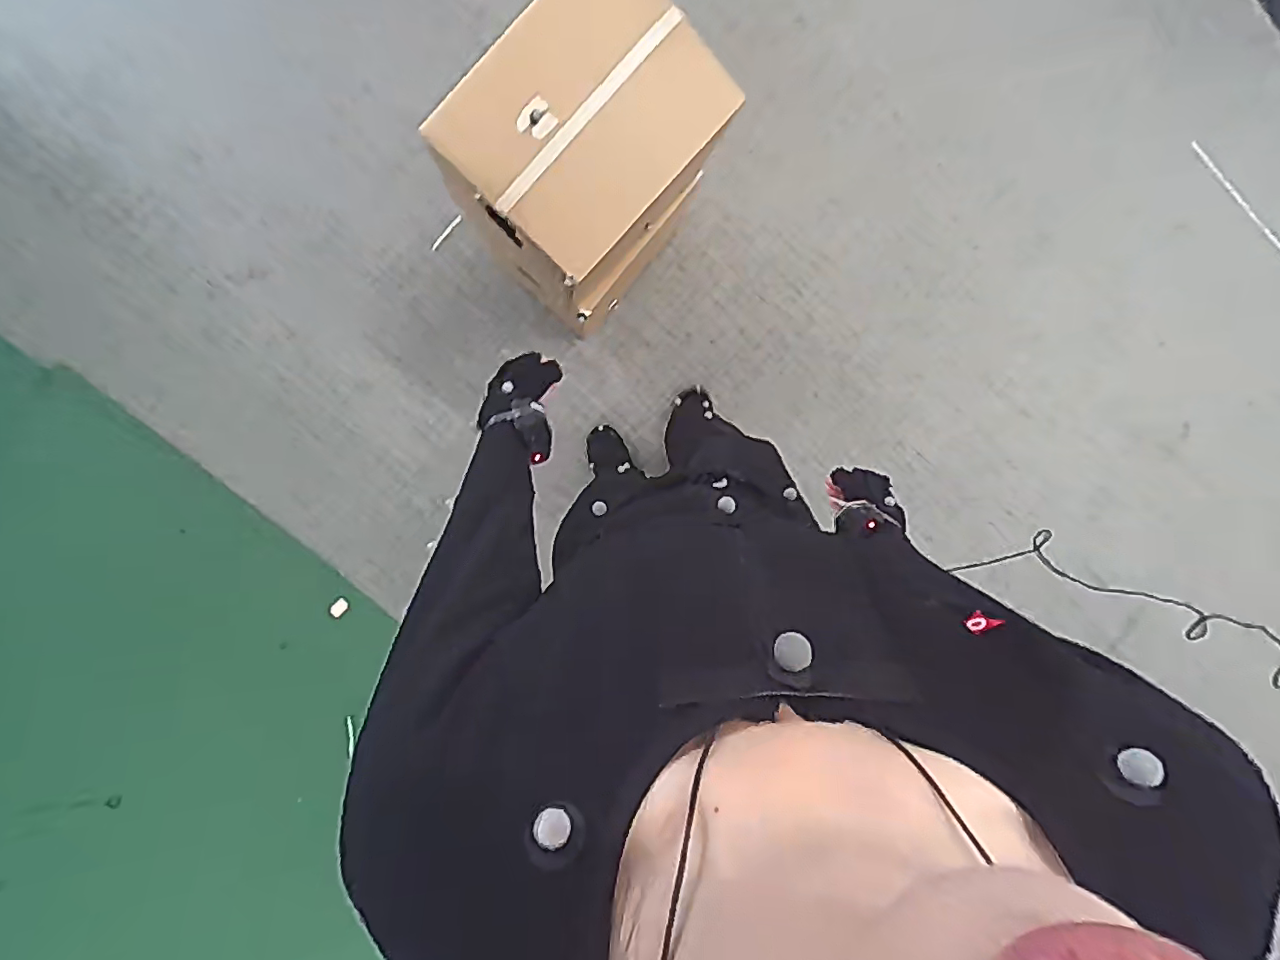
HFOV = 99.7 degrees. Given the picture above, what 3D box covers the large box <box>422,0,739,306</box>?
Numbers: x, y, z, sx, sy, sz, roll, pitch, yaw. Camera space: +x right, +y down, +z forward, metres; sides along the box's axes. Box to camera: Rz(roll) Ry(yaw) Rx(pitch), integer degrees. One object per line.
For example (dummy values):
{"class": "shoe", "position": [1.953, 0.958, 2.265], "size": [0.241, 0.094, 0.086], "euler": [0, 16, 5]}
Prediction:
{"class": "large box", "position": [-0.103, -0.582, 0.963], "size": [0.320, 0.320, 0.408], "euler": [43, 91, -12]}
